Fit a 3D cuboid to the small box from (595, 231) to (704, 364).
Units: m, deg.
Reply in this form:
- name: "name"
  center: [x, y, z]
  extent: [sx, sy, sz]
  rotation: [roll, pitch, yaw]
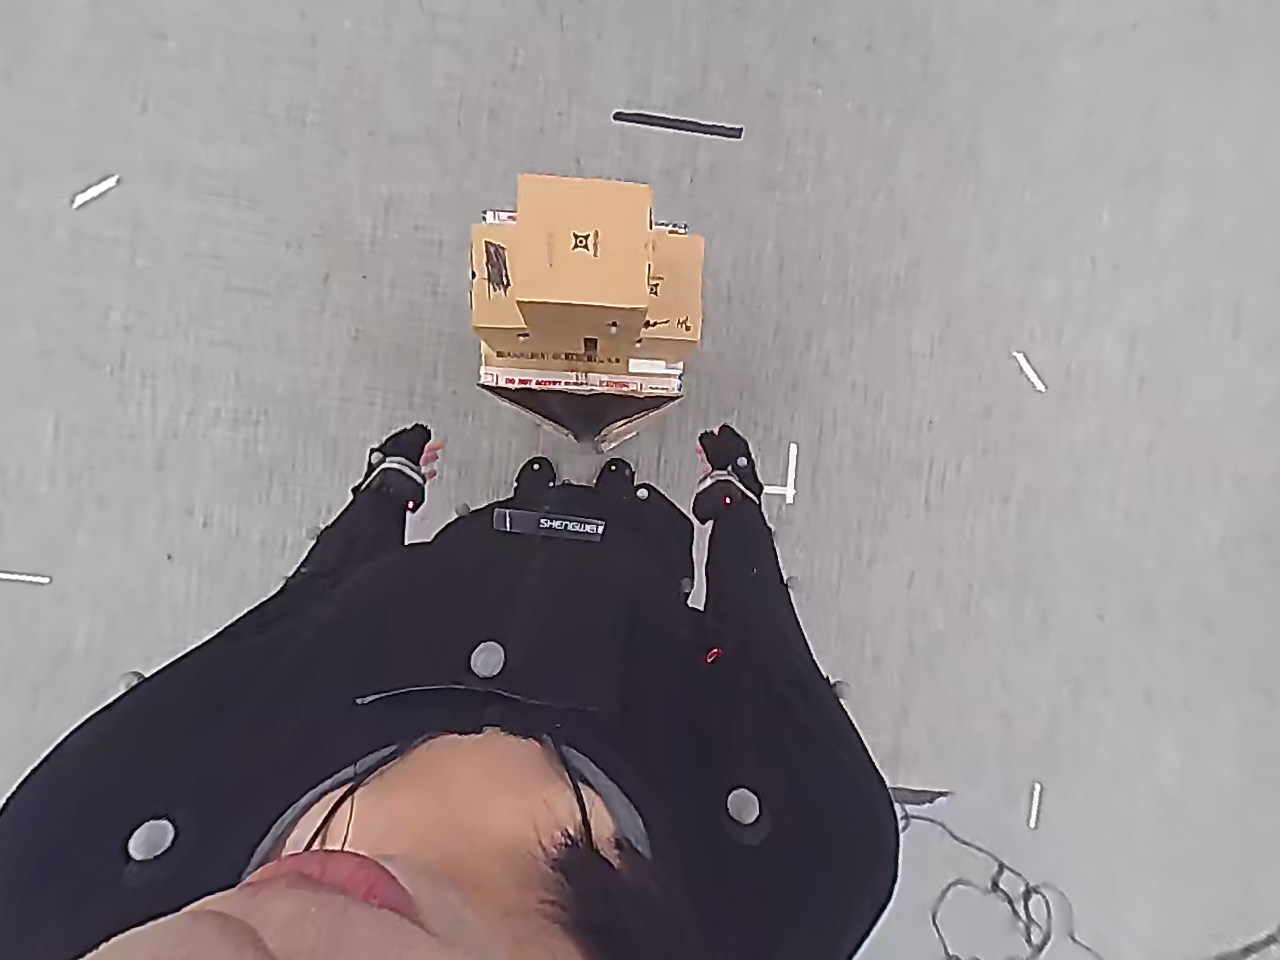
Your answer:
- name: "small box"
  center: [0.009, -0.314, 0.947]
  extent: [0.168, 0.176, 0.179]
  rotation: [3, 90, -7]

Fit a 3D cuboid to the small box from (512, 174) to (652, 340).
- name: "small box"
  center: [-0.081, -0.305, 0.773]
  extent: [0.179, 0.176, 0.168]
  rotation: [1, 89, -5]

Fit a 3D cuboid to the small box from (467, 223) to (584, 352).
- name: "small box"
  center: [-0.187, -0.320, 0.928]
  extent: [0.179, 0.176, 0.168]
  rotation: [0, 91, -4]
